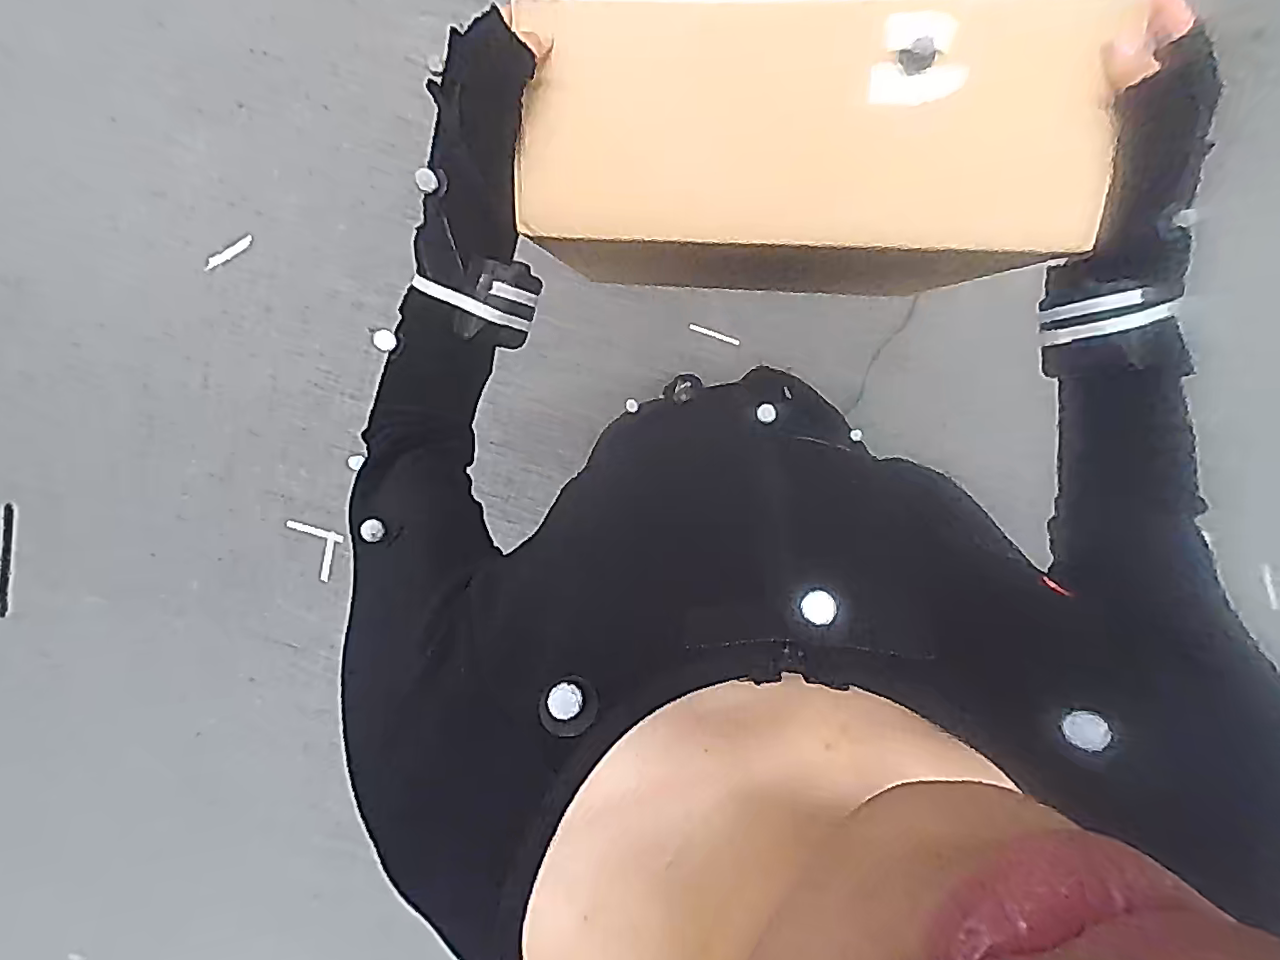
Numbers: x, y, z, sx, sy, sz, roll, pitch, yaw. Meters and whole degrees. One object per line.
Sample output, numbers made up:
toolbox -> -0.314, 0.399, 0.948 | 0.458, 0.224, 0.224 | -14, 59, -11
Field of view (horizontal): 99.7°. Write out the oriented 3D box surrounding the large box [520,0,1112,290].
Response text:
large box -> 0.122, -0.362, 0.511 | 0.408, 0.320, 0.320 | 3, 103, 4
